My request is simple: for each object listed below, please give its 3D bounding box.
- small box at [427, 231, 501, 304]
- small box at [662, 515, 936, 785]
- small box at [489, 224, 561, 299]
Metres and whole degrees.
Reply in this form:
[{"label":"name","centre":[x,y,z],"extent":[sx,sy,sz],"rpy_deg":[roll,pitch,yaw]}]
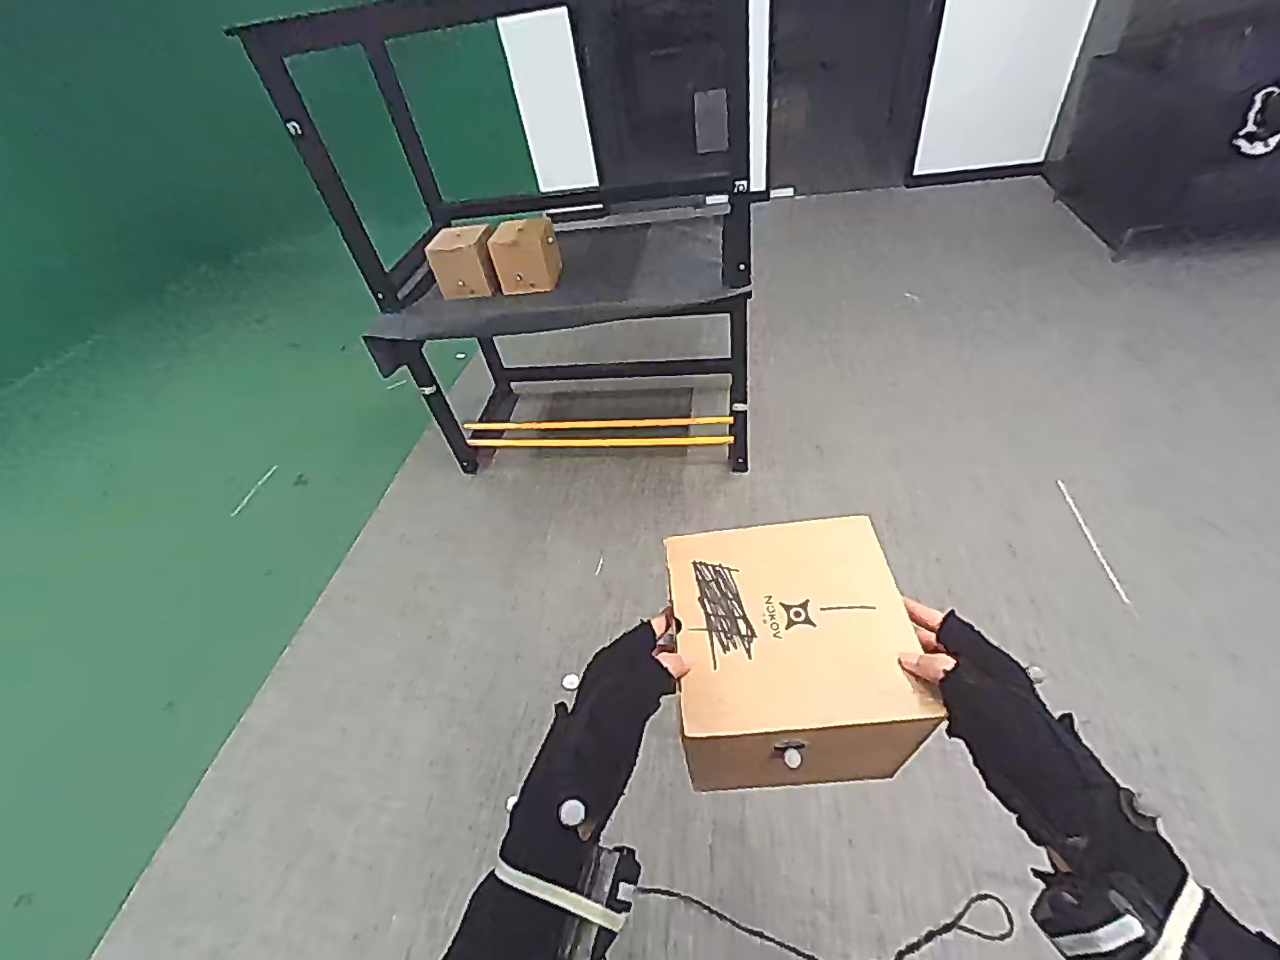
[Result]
[{"label":"small box","centre":[-0.566,-0.699,1.781],"extent":[0.168,0.176,0.179],"rpy_deg":[-2,45,9]},{"label":"small box","centre":[0.118,0.153,0.471],"extent":[0.179,0.176,0.168],"rpy_deg":[-6,48,3]},{"label":"small box","centre":[-0.364,-0.705,1.752],"extent":[0.168,0.176,0.179],"rpy_deg":[-2,45,10]}]
